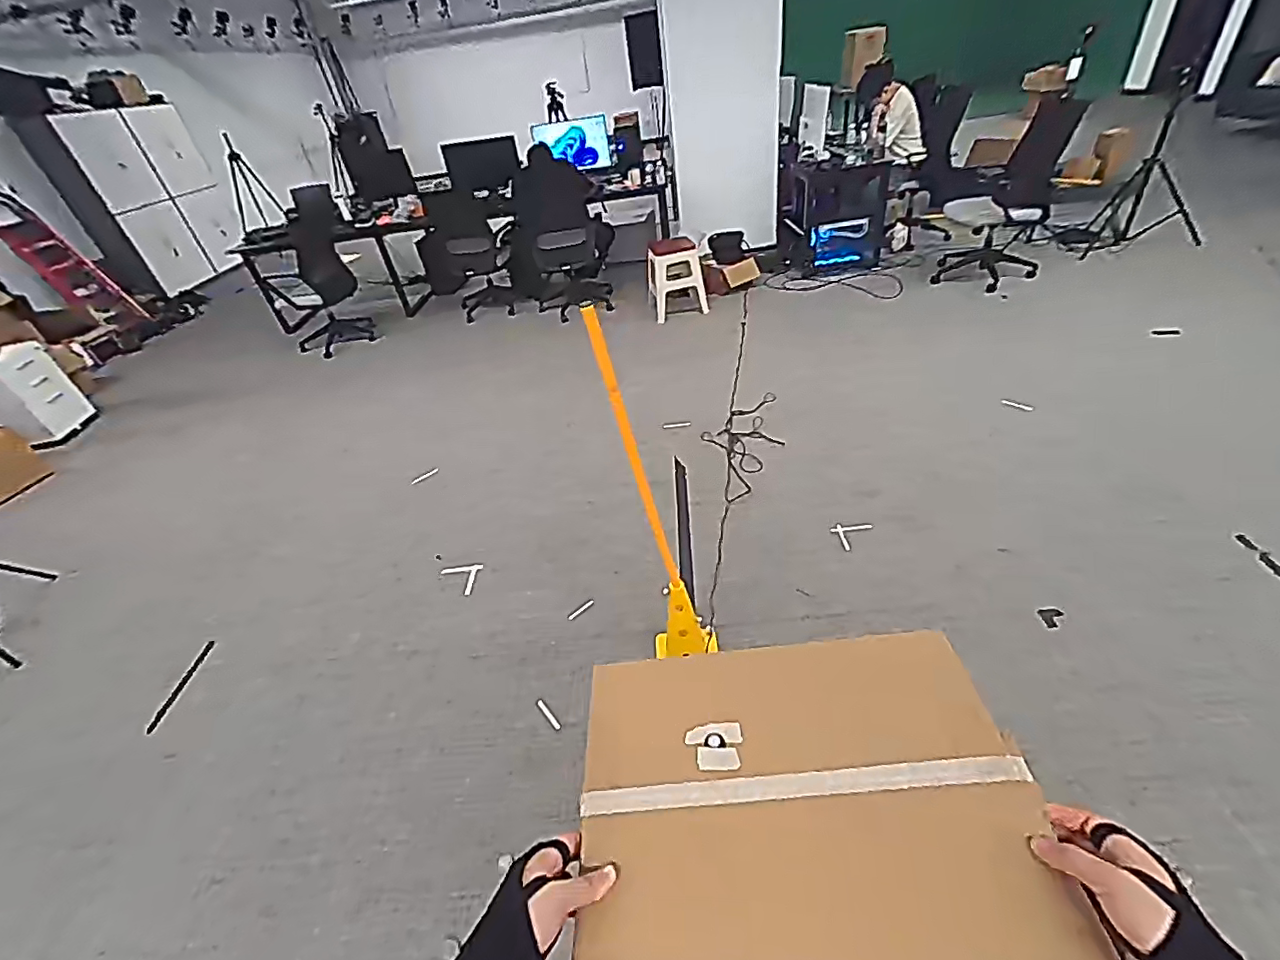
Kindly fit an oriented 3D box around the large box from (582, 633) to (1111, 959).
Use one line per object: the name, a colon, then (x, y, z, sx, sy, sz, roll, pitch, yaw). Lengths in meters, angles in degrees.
large box: (0.177, 0.414, 0.605, 0.408, 0.320, 0.320, -9, 36, 7)
